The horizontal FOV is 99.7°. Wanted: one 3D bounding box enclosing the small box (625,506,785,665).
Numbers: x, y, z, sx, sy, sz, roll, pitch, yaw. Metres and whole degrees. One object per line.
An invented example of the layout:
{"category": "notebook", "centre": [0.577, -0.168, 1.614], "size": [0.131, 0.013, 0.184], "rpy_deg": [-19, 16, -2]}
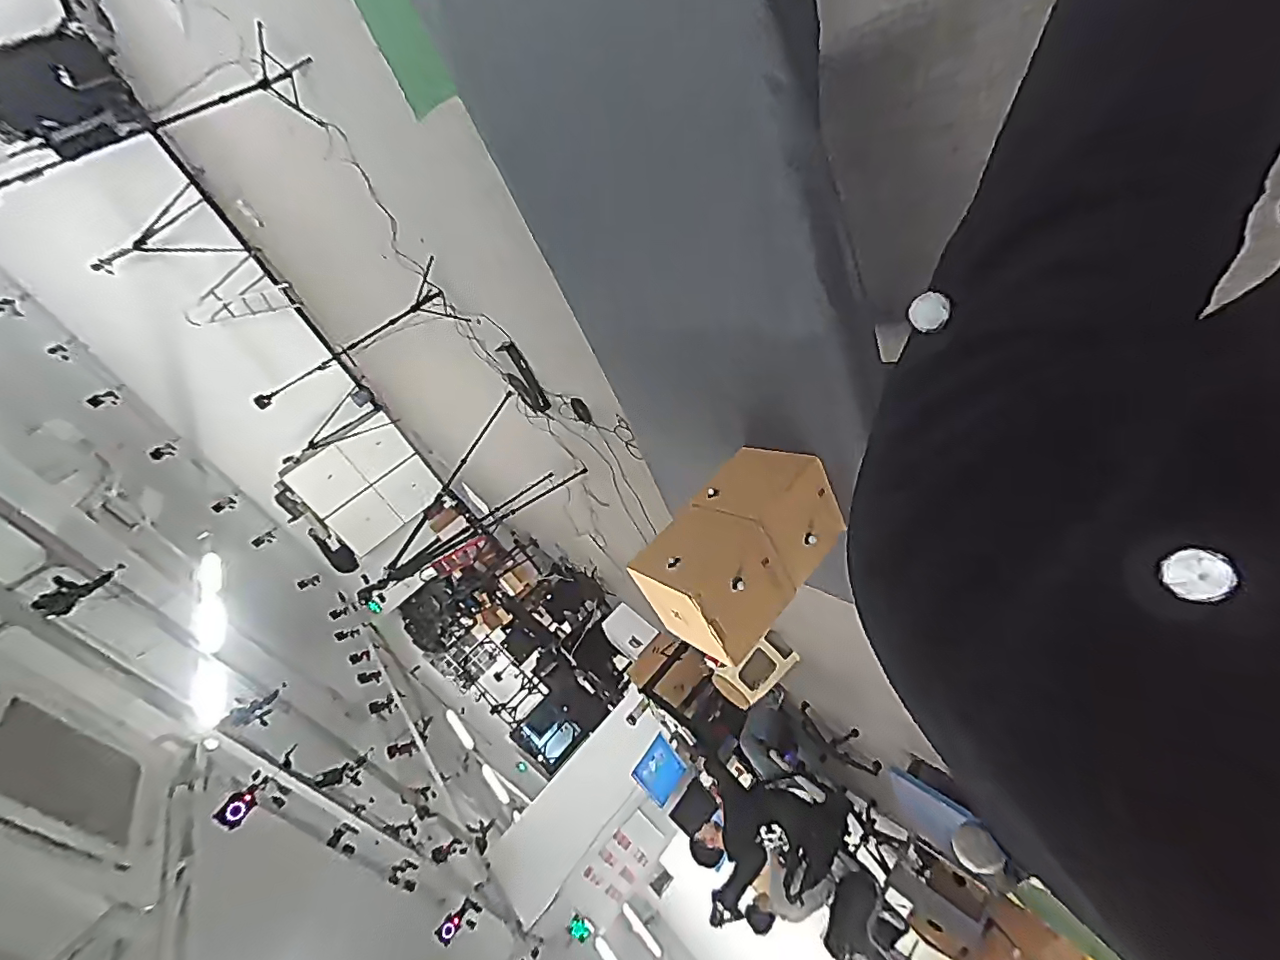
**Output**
{"category": "small box", "centre": [0.115, 0.162, 0.893], "size": [0.179, 0.176, 0.168], "rpy_deg": [14, 139, 55]}

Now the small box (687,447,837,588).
{"category": "small box", "centre": [0.223, 0.057, 0.955], "size": [0.179, 0.176, 0.168], "rpy_deg": [13, 141, 54]}
